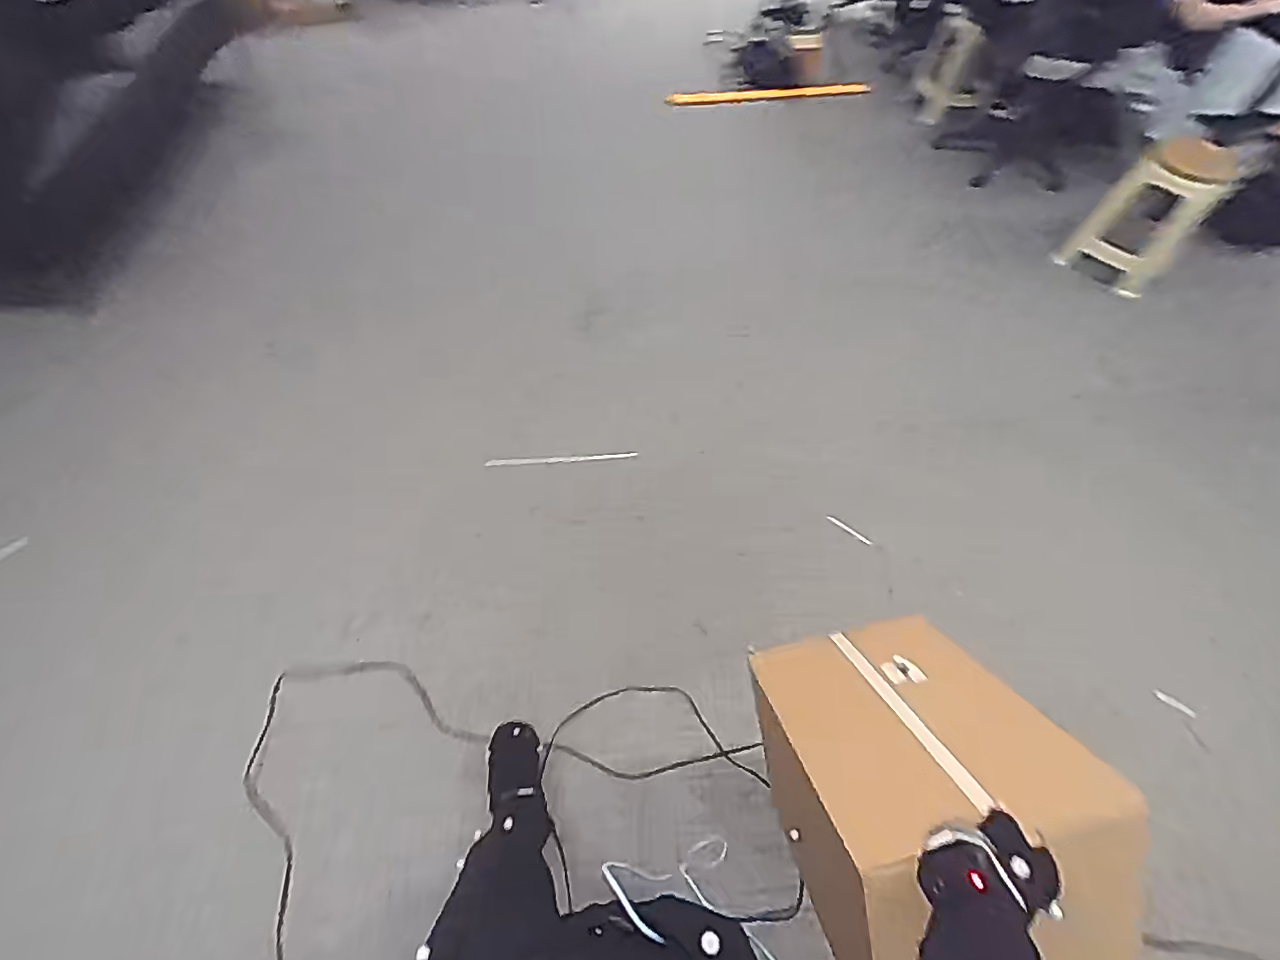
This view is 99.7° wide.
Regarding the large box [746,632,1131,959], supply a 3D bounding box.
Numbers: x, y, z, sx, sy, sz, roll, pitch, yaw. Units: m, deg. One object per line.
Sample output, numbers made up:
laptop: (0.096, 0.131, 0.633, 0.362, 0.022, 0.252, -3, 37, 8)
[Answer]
large box: (0.384, 0.483, 0.786, 0.320, 0.320, 0.408, -12, 12, -3)
